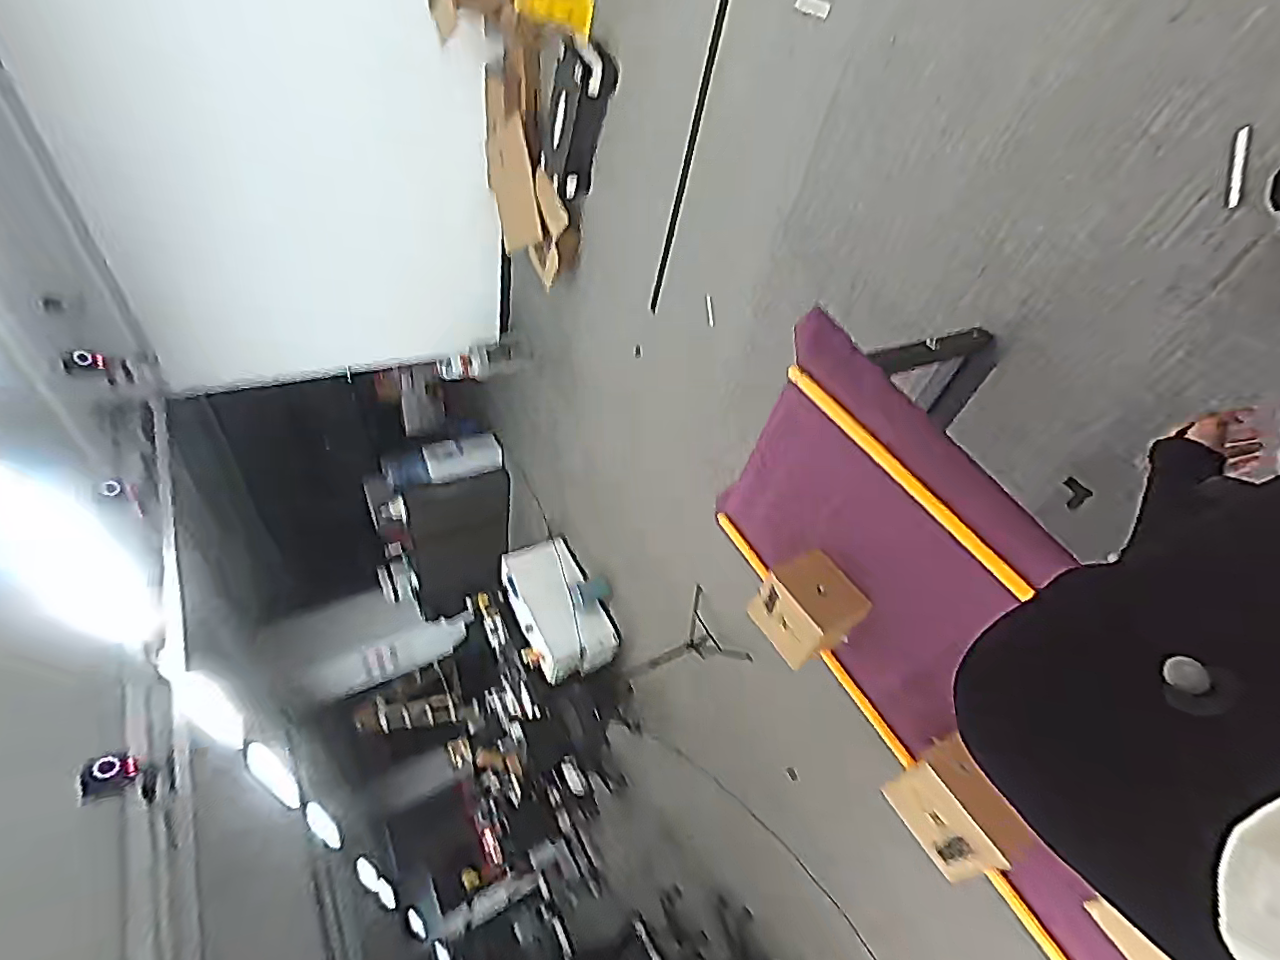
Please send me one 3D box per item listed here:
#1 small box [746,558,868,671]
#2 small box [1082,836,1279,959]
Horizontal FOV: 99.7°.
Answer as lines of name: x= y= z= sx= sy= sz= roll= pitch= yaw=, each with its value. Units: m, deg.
small box: x=0.382 y=0.300 z=1.250 sx=0.179 sy=0.176 sz=0.168 roll=52 pitch=144 yaw=33
small box: x=0.768 y=0.611 z=0.722 sx=0.179 sy=0.176 sz=0.168 roll=55 pitch=147 yaw=34
